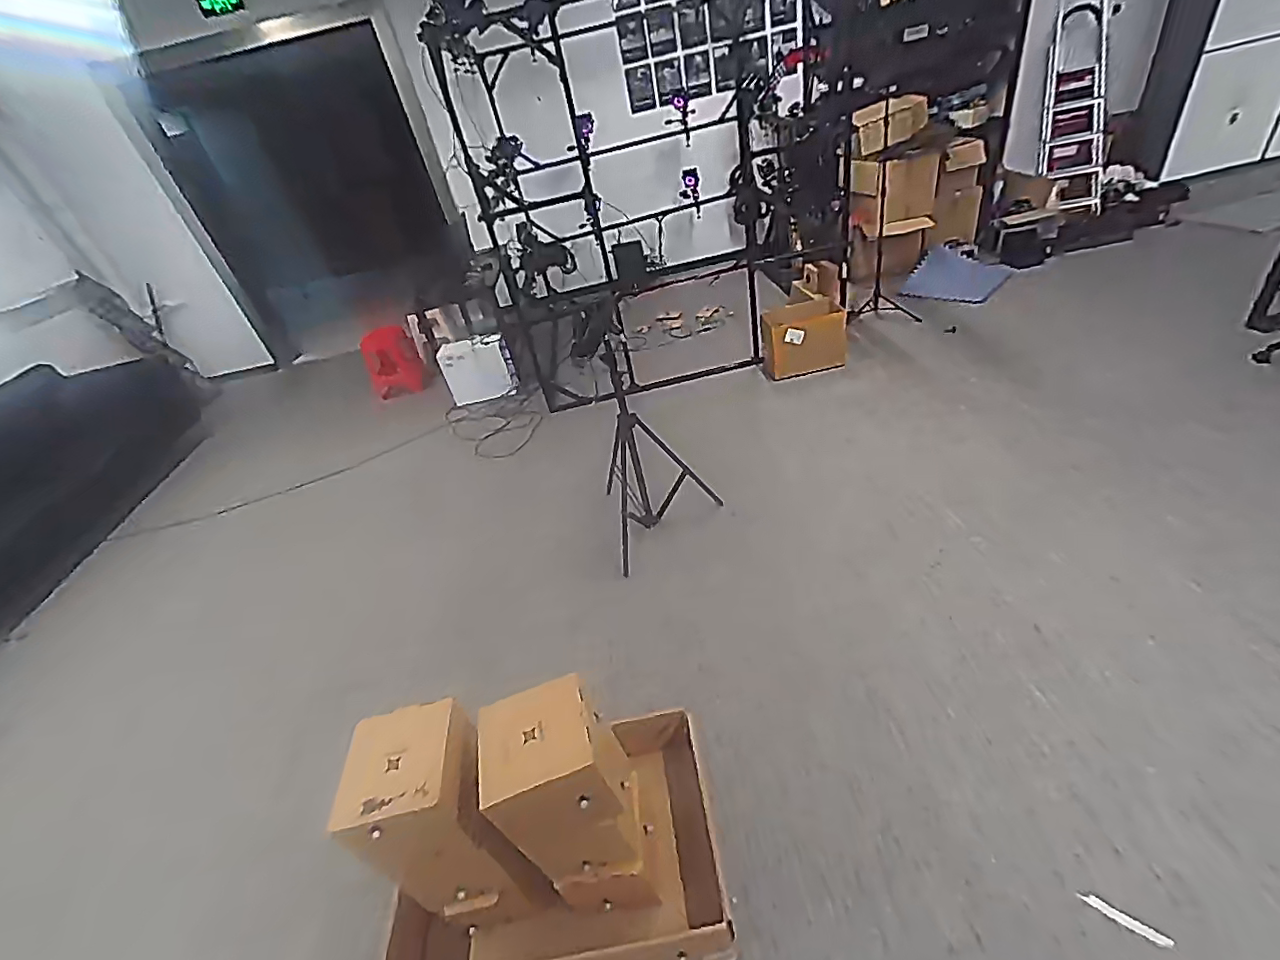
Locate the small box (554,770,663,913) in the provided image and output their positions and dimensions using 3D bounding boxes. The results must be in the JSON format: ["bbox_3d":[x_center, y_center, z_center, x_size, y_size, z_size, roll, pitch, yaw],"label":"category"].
[{"bbox_3d":[-0.058,0.705,1.056,0.168,0.176,0.179,-14,36,6],"label":"small box"}]

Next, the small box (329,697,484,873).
[{"bbox_3d":[-0.358,0.493,0.880,0.168,0.176,0.179,-15,35,1],"label":"small box"}]

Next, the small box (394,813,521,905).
[{"bbox_3d":[-0.319,0.622,0.976,0.168,0.176,0.179,-14,36,0],"label":"small box"}]

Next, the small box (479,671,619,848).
[{"bbox_3d":[-0.143,0.449,0.871,0.179,0.176,0.168,-21,36,-3],"label":"small box"}]
